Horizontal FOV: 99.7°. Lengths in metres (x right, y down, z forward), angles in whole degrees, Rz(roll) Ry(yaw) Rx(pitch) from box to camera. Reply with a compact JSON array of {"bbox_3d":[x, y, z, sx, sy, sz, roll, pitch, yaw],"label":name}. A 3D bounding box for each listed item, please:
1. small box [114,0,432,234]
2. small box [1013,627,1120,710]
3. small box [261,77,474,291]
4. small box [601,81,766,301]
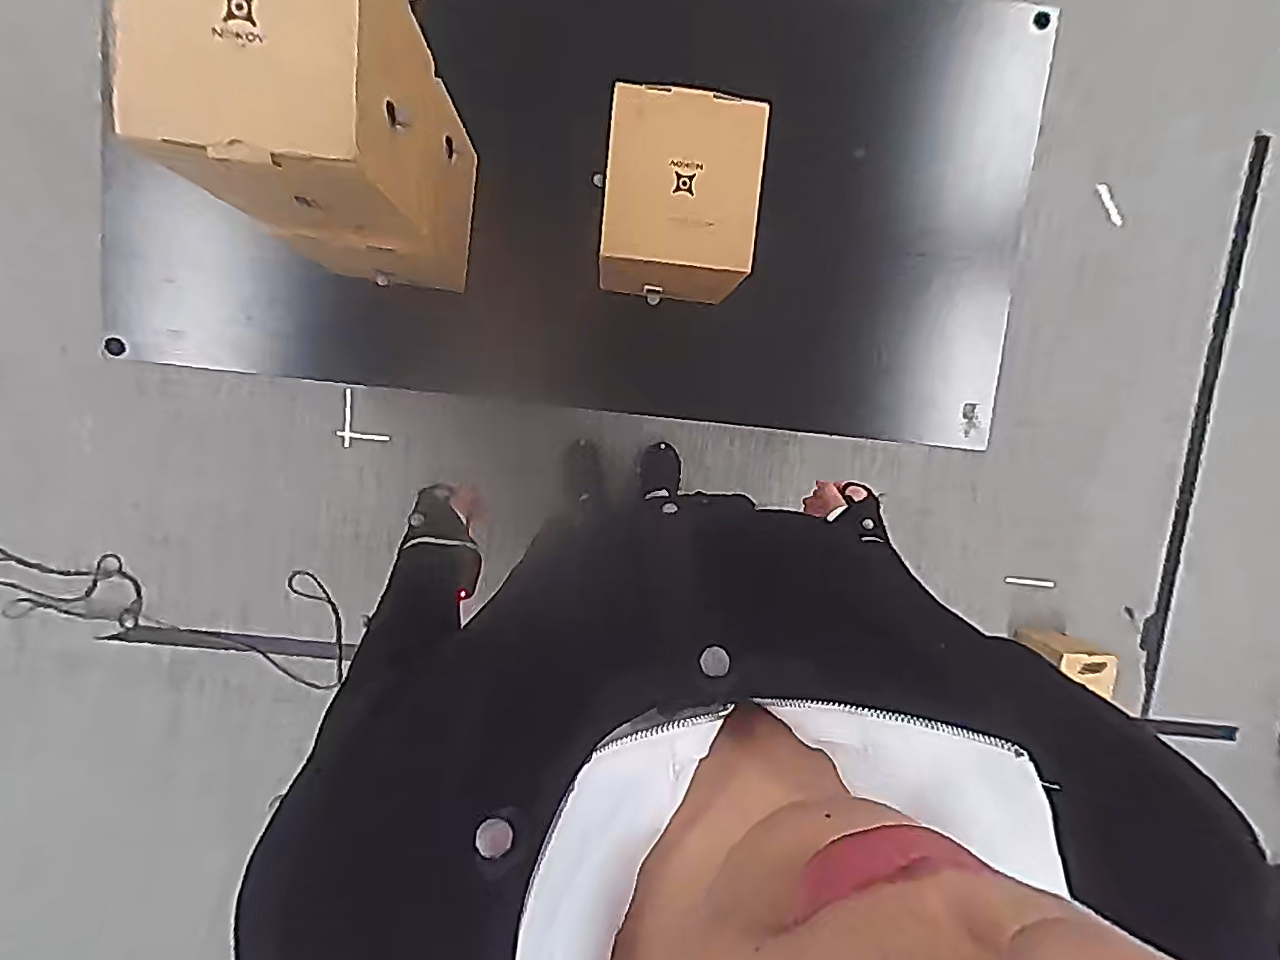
[{"bbox_3d":[-0.286,-0.328,0.459,0.168,0.176,0.179,4,97,-5],"label":"small box"},{"bbox_3d":[1.220,0.537,1.561,0.168,0.176,0.179,4,97,-4],"label":"small box"},{"bbox_3d":[-0.296,-0.337,0.623,0.168,0.176,0.179,7,96,-4],"label":"small box"},{"bbox_3d":[0.041,-0.328,0.650,0.168,0.176,0.179,4,97,-3],"label":"small box"}]
